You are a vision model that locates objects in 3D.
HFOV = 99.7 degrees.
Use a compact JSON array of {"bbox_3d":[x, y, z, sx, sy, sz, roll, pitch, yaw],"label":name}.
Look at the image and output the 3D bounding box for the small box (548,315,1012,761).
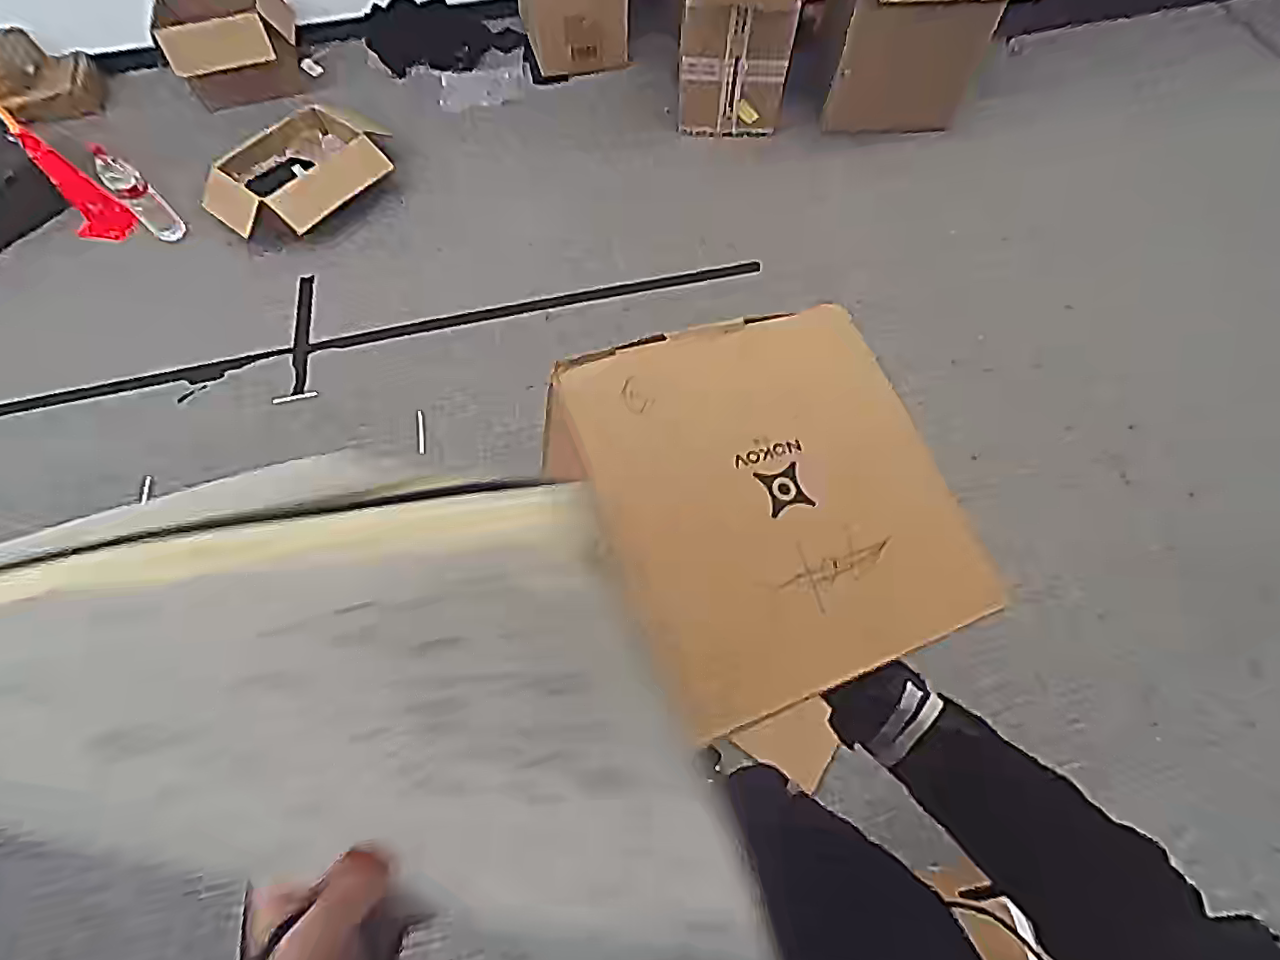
[{"bbox_3d":[0.048,0.037,0.315,0.168,0.176,0.179,-16,72,-17],"label":"small box"}]
